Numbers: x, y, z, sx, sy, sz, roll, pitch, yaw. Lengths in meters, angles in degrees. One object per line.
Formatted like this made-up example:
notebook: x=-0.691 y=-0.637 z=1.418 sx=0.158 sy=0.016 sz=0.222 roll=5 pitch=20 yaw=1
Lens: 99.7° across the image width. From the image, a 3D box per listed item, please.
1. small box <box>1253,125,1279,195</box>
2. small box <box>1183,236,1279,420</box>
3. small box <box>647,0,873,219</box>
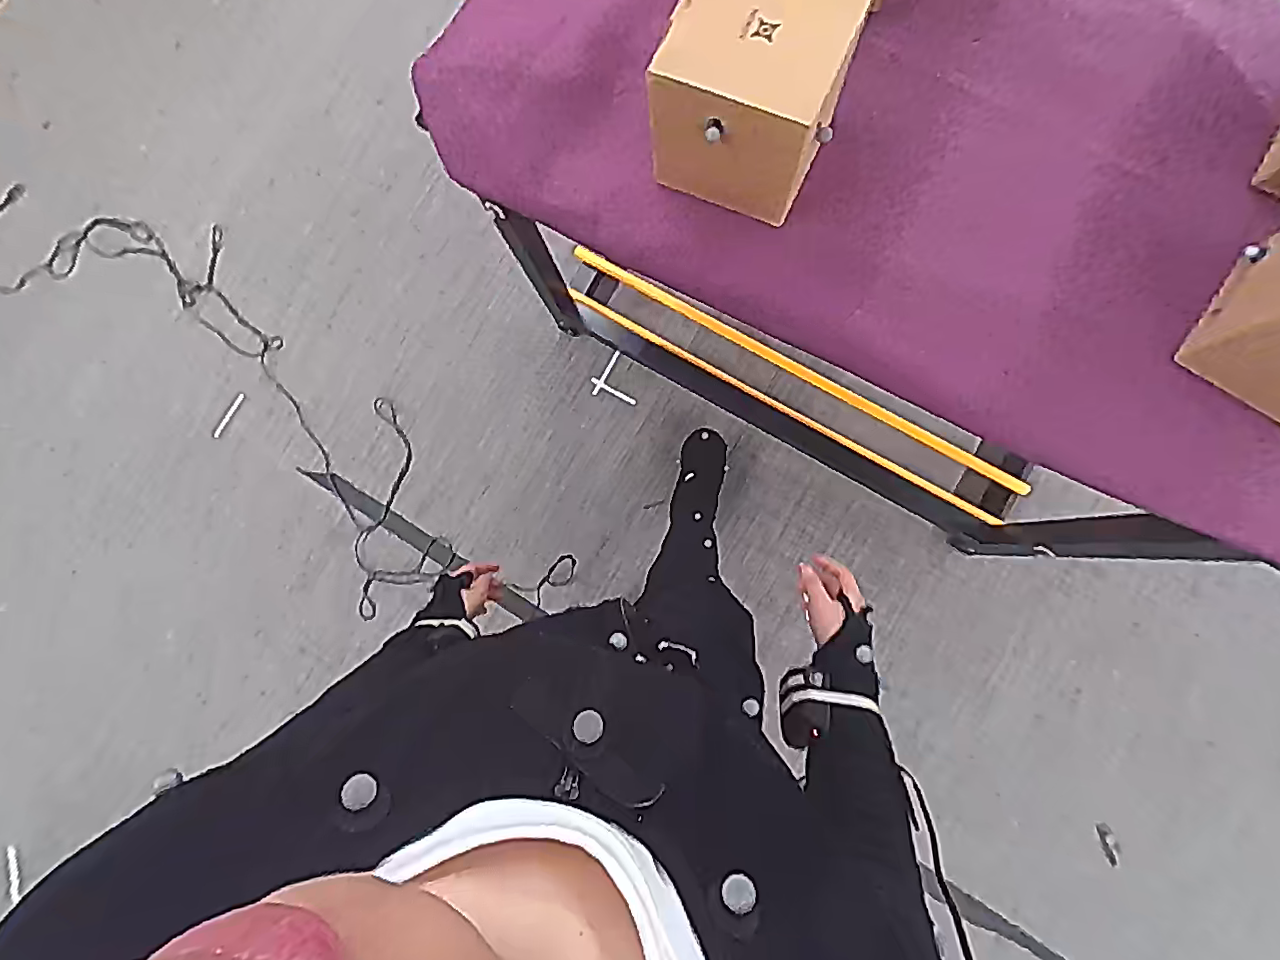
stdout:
small box: x=0.807 y=-0.375 z=0.535 sx=0.179 sy=0.176 sz=0.168 roll=30 pitch=88 yaw=8
small box: x=0.706 y=-0.163 z=0.519 sx=0.179 sy=0.176 sz=0.168 roll=36 pitch=86 yaw=8
small box: x=0.124 y=-0.430 z=0.608 sx=0.179 sy=0.176 sz=0.168 roll=24 pitch=85 yaw=8
